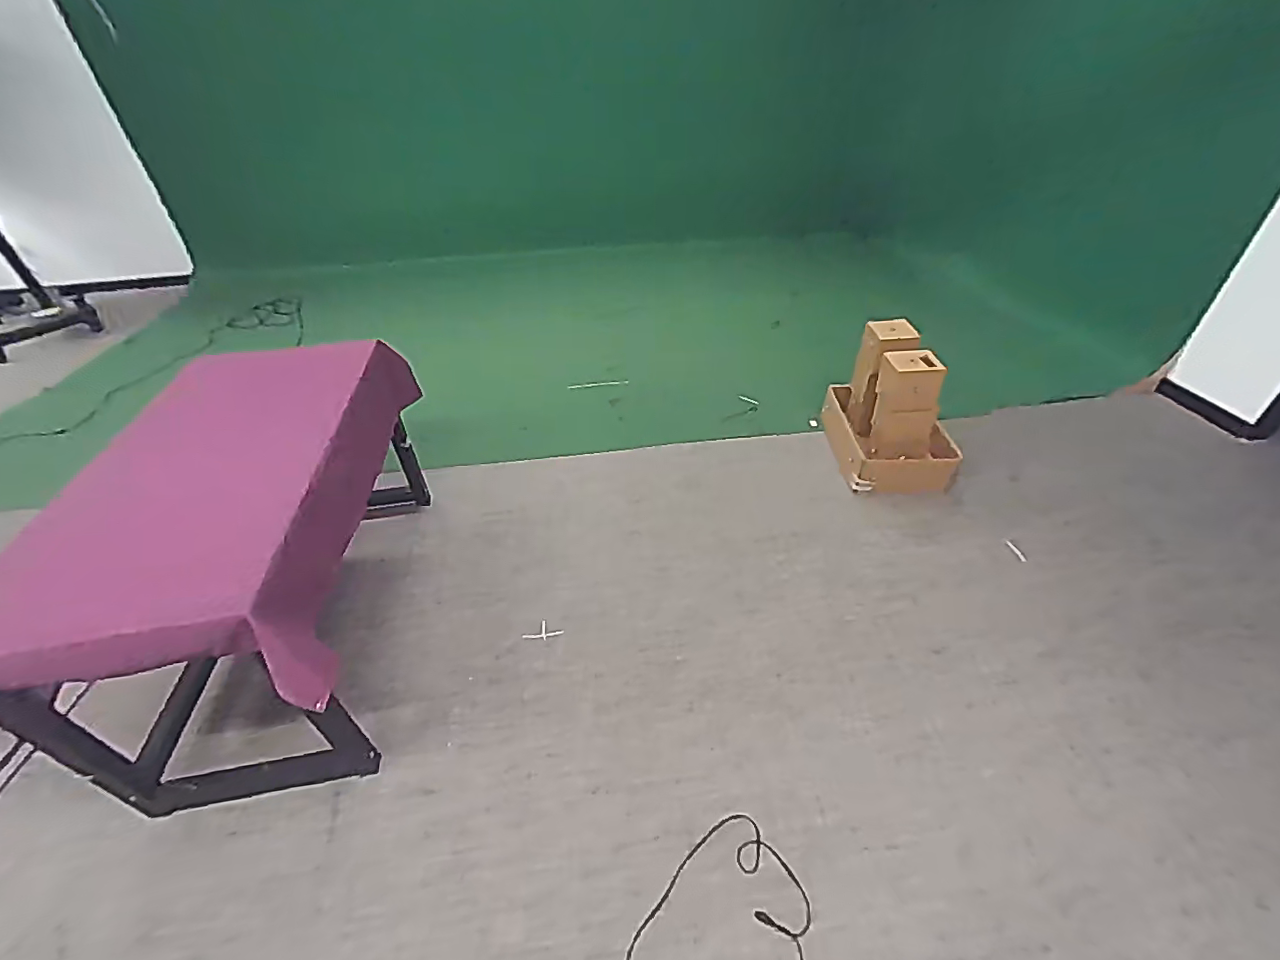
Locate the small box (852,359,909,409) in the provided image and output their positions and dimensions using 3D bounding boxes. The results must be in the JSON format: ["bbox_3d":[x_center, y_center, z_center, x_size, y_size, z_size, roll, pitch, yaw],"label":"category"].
[{"bbox_3d":[1.077,-0.434,2.435,0.179,0.176,0.168,-2,40,3],"label":"small box"}]

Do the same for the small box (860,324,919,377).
[{"bbox_3d":[1.064,-0.552,2.320,0.168,0.176,0.179,-2,40,2],"label":"small box"}]

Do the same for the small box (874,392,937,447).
[{"bbox_3d":[1.068,-0.244,2.196,0.179,0.176,0.168,-2,38,1],"label":"small box"}]
